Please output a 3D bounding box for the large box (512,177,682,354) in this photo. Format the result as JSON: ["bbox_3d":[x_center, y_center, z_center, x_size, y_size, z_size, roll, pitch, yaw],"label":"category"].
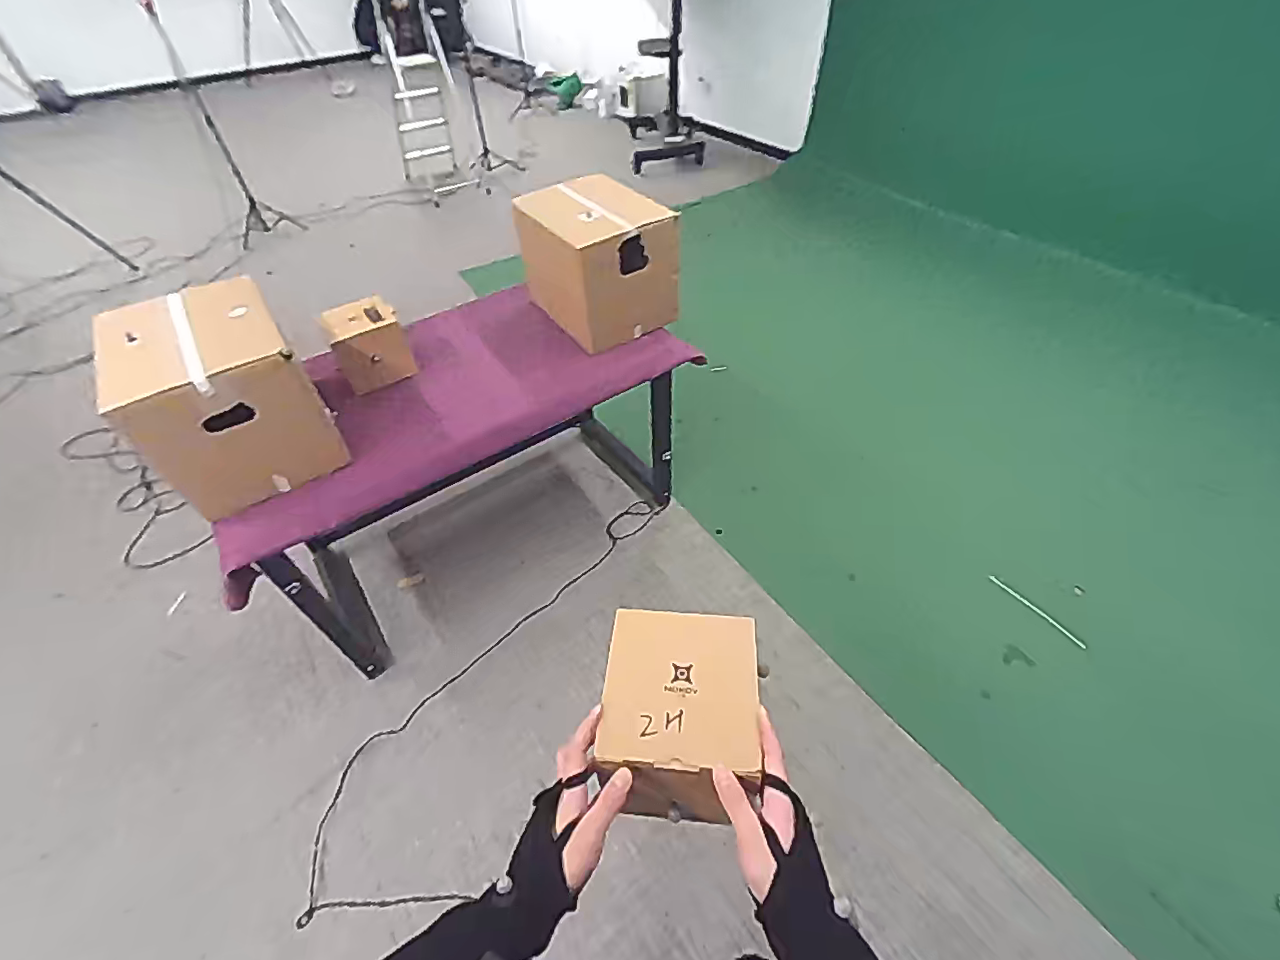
[{"bbox_3d":[-0.123,-0.632,1.577,0.320,0.320,0.408,-29,53,-20],"label":"large box"}]

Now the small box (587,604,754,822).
[{"bbox_3d":[0.041,0.270,0.633,0.168,0.176,0.179,2,43,7],"label":"small box"}]
